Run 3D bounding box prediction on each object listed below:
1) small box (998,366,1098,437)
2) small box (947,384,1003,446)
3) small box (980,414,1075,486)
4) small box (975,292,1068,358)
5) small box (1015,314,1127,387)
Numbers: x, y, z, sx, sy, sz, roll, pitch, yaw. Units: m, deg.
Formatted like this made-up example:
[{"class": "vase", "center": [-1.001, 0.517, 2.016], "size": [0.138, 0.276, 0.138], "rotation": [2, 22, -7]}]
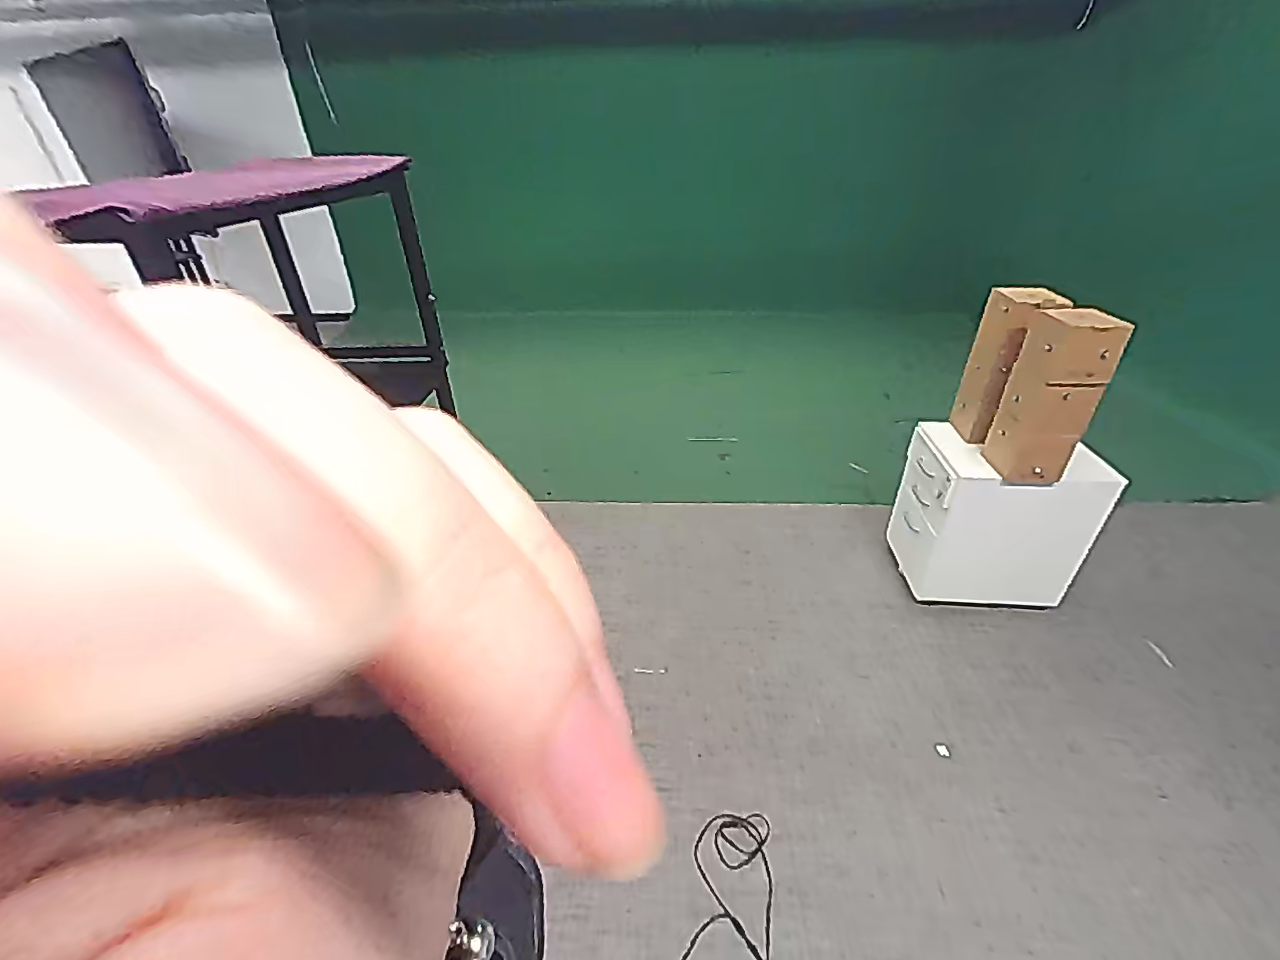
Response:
[{"class": "small box", "center": [1.234, -0.241, 1.656], "size": [0.179, 0.176, 0.168], "rotation": [0, 33, 2]}, {"class": "small box", "center": [1.239, -0.232, 1.946], "size": [0.168, 0.176, 0.179], "rotation": [2, 34, 5]}, {"class": "small box", "center": [1.233, -0.098, 1.738], "size": [0.168, 0.176, 0.179], "rotation": [2, 33, 5]}, {"class": "small box", "center": [1.234, -0.506, 1.767], "size": [0.168, 0.176, 0.179], "rotation": [2, 34, 4]}, {"class": "small box", "center": [1.233, -0.374, 1.562], "size": [0.168, 0.176, 0.179], "rotation": [1, 31, 4]}]
